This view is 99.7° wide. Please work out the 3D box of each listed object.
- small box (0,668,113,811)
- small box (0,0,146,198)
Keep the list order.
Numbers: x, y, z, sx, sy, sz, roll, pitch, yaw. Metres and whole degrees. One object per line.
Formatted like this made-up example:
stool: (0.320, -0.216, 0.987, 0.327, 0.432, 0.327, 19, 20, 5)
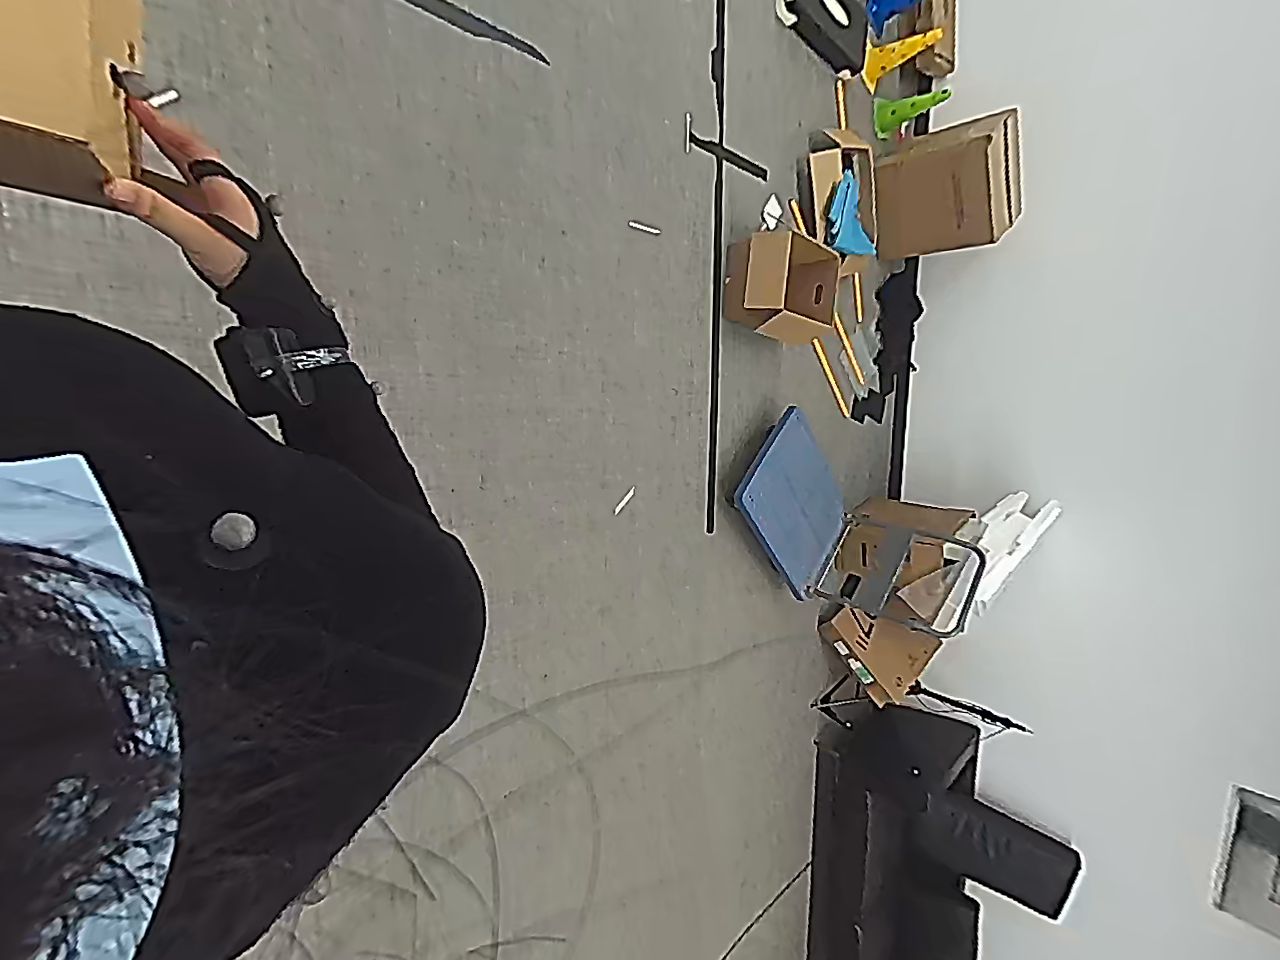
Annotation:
small box: (-1.118, 0.475, 1.022, 0.168, 0.176, 0.179, -4, 100, -43)
small box: (-0.385, -0.270, 0.283, 0.179, 0.176, 0.168, 1, 99, -36)
